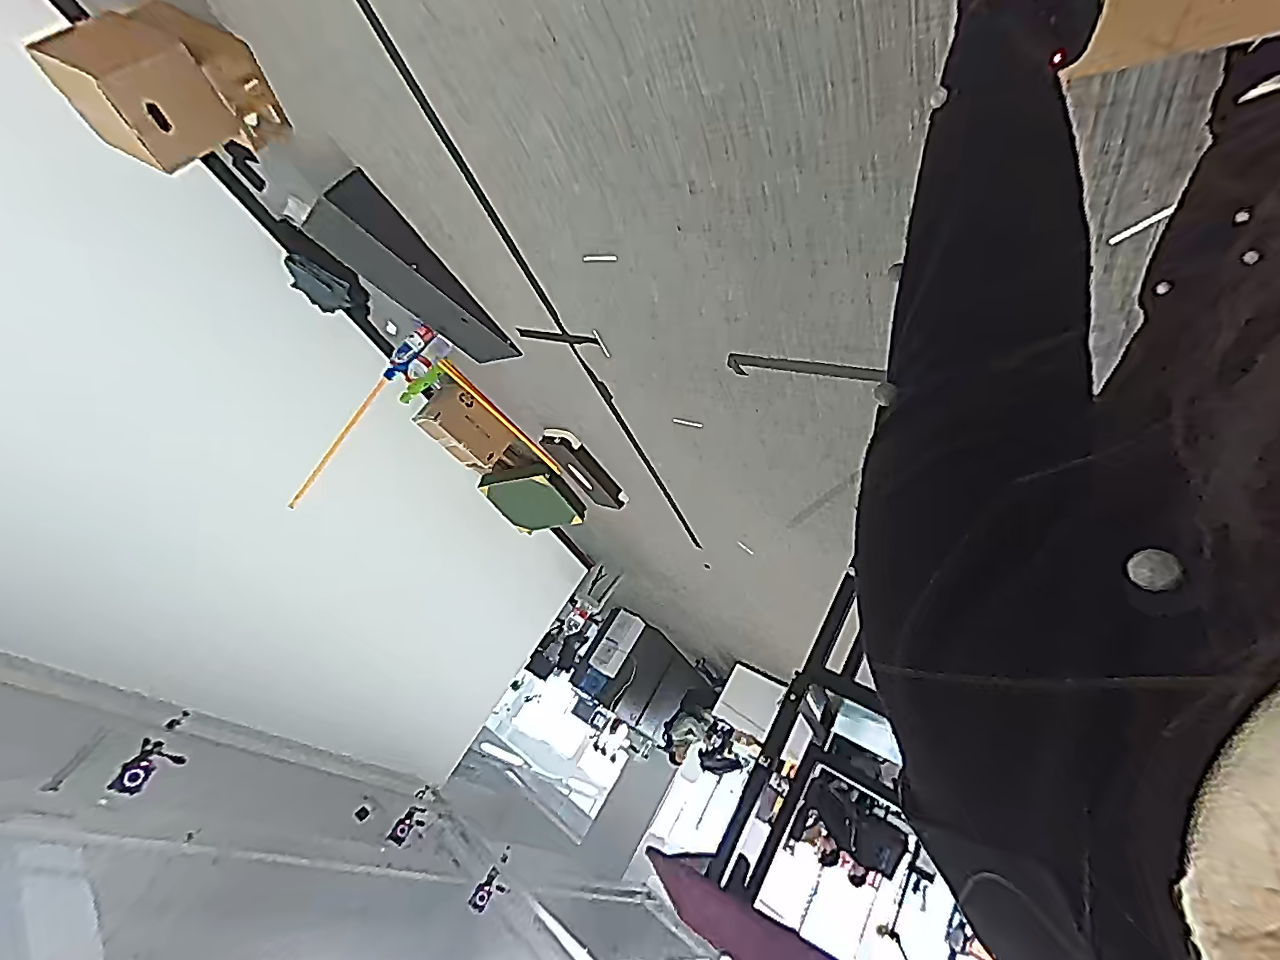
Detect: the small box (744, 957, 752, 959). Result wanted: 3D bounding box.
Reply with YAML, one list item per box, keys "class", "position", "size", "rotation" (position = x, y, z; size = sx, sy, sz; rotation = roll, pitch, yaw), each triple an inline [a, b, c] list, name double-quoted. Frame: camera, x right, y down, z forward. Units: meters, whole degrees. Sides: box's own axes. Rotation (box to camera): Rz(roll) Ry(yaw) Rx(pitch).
- class: "small box"
  position: [0.307, 1.415, 1.429]
  size: [0.179, 0.176, 0.168]
  rotation: [18, 154, 37]
